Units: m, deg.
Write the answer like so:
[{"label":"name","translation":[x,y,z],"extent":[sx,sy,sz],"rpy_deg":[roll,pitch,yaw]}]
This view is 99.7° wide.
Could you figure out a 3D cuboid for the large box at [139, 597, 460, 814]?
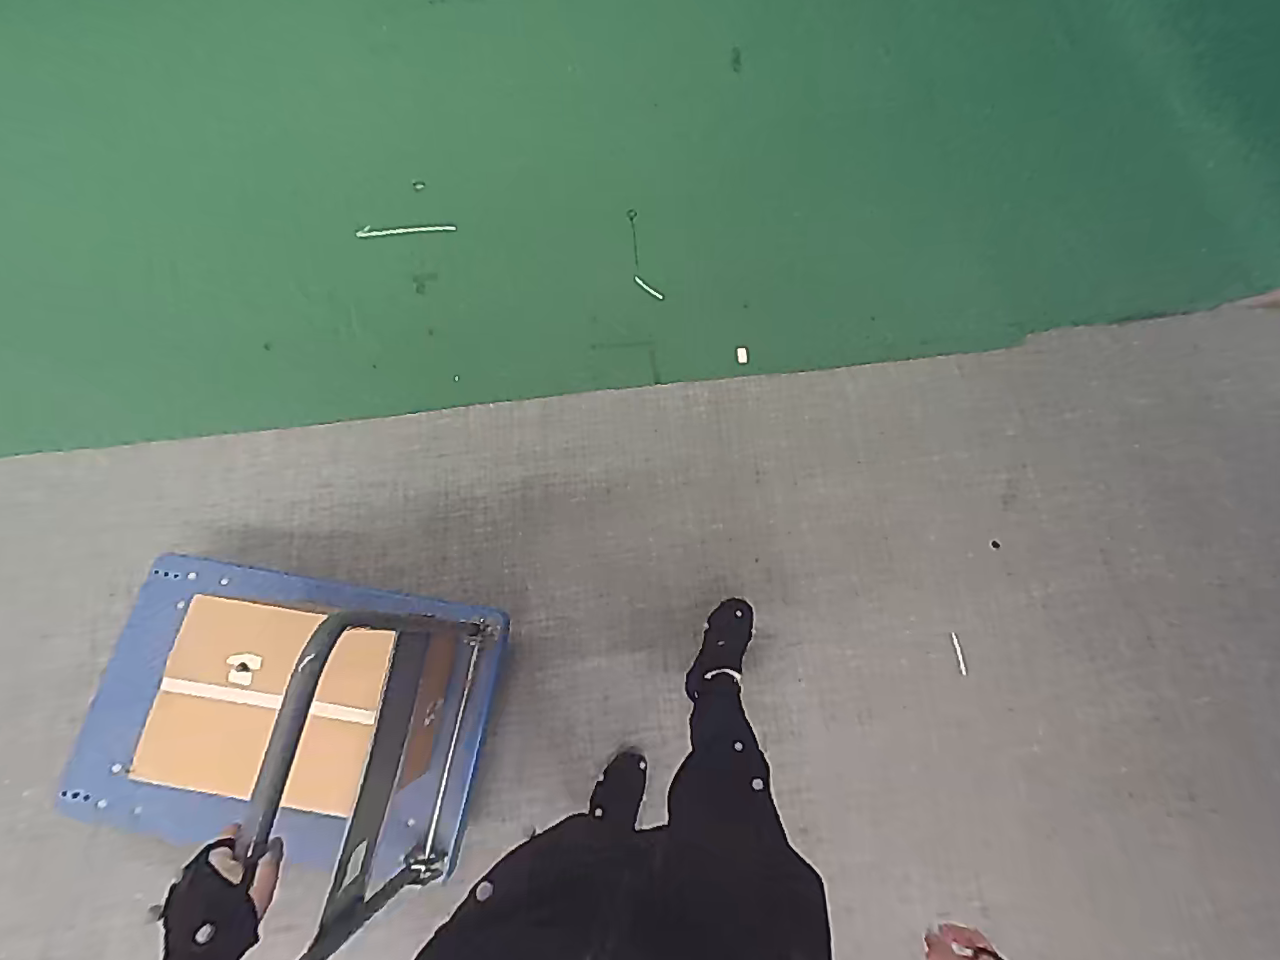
[{"label":"large box","translation":[-0.630,0.426,1.087],"extent":[0.408,0.320,0.320],"rpy_deg":[9,73,2]}]
